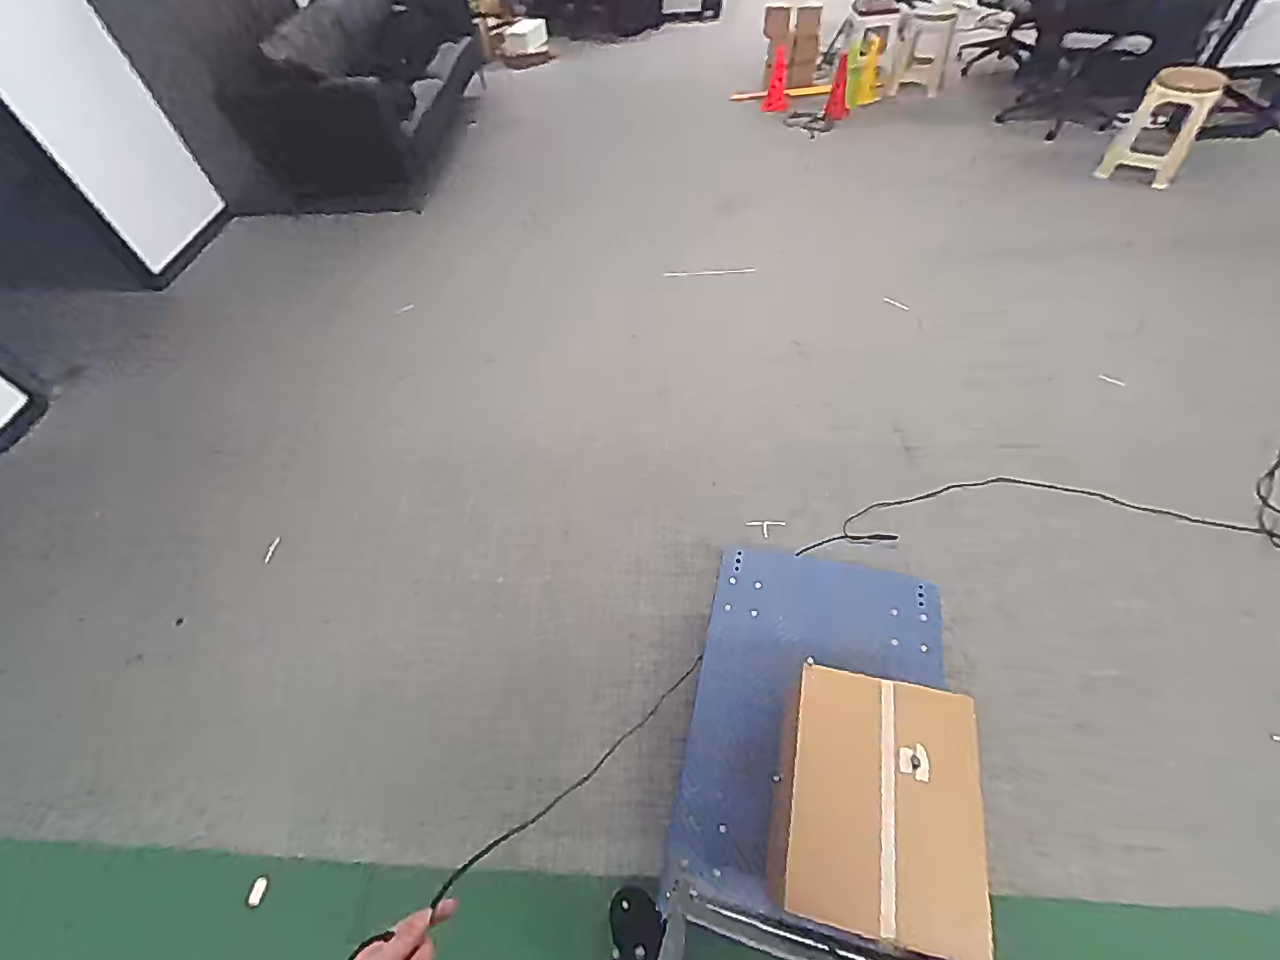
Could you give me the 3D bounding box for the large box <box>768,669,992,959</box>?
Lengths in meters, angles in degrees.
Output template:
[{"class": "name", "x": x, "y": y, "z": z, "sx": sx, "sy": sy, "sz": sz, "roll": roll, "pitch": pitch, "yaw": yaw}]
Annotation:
[{"class": "large box", "x": 0.438, "y": 0.641, "z": 1.060, "sx": 0.320, "sy": 0.320, "sz": 0.408, "roll": 10, "pitch": 58, "yaw": 12}]
